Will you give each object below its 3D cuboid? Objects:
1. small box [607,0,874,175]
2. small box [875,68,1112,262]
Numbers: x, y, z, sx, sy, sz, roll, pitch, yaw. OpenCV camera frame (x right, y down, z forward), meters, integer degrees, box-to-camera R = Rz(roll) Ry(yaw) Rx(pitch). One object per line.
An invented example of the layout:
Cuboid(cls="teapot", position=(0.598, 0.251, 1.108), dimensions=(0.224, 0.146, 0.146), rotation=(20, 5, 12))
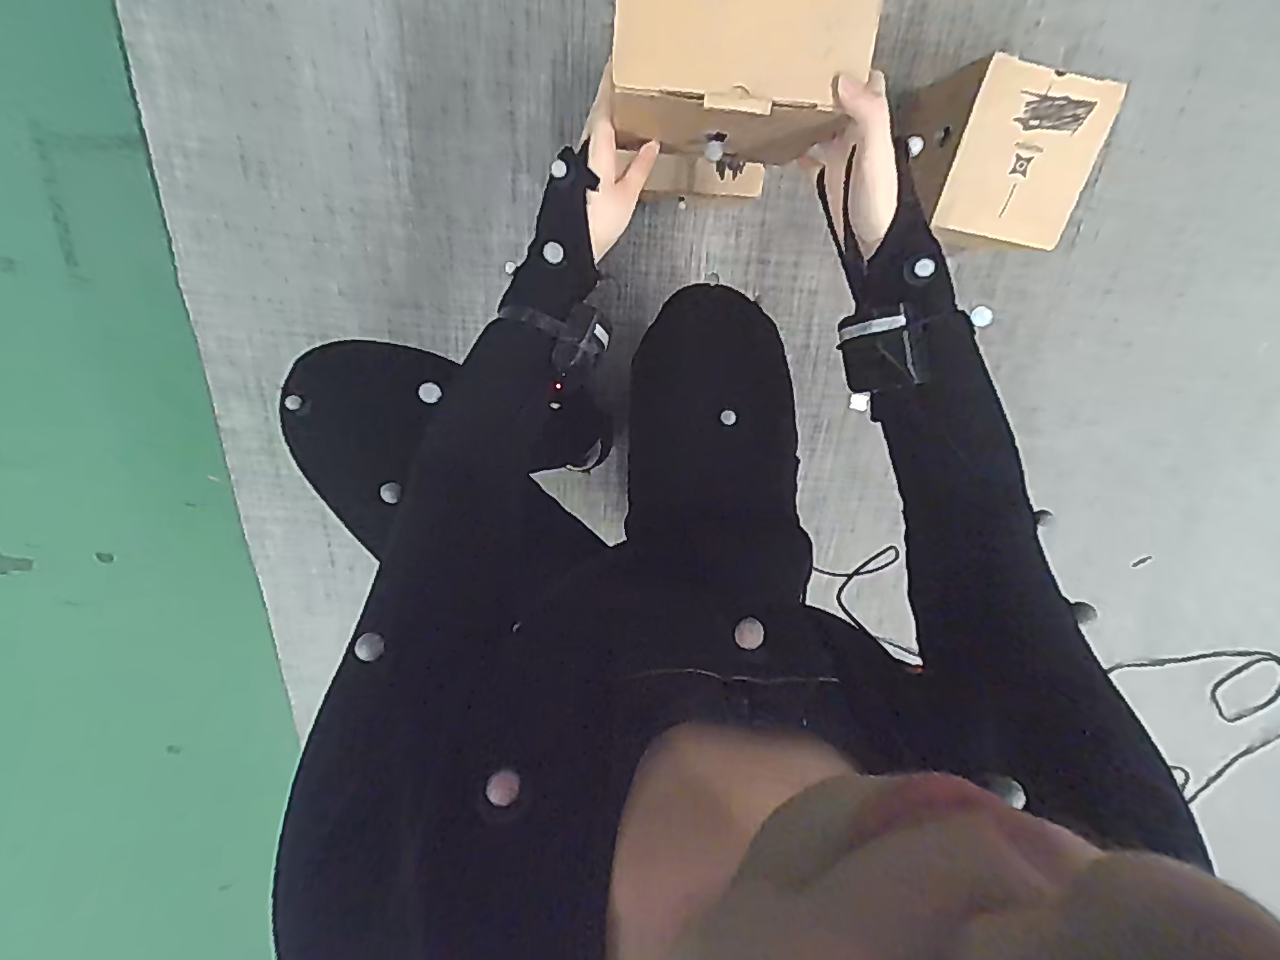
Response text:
Cuboid(cls="small box", position=(0.065, -0.344, 0.407), dimensions=(0.168, 0.176, 0.179), rotation=(3, 110, -3))
Cuboid(cls="small box", position=(0.437, -0.394, 0.707), dimensions=(0.168, 0.176, 0.179), rotation=(9, 112, -5))
